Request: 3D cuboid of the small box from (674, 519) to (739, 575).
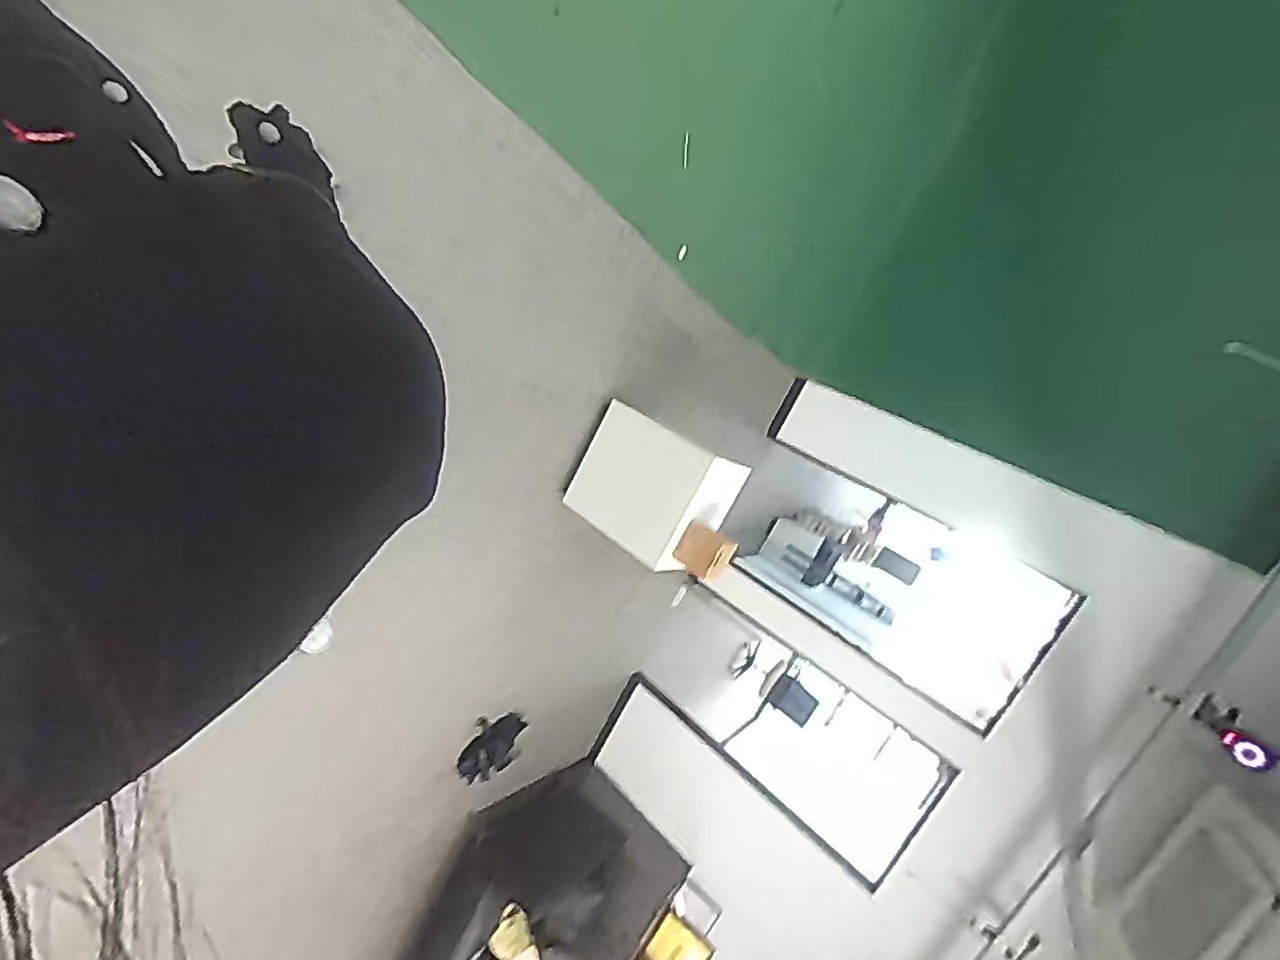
[{"bbox_3d":[0.267,0.270,2.188,0.179,0.176,0.168,13,107,-59],"label":"small box"}]
